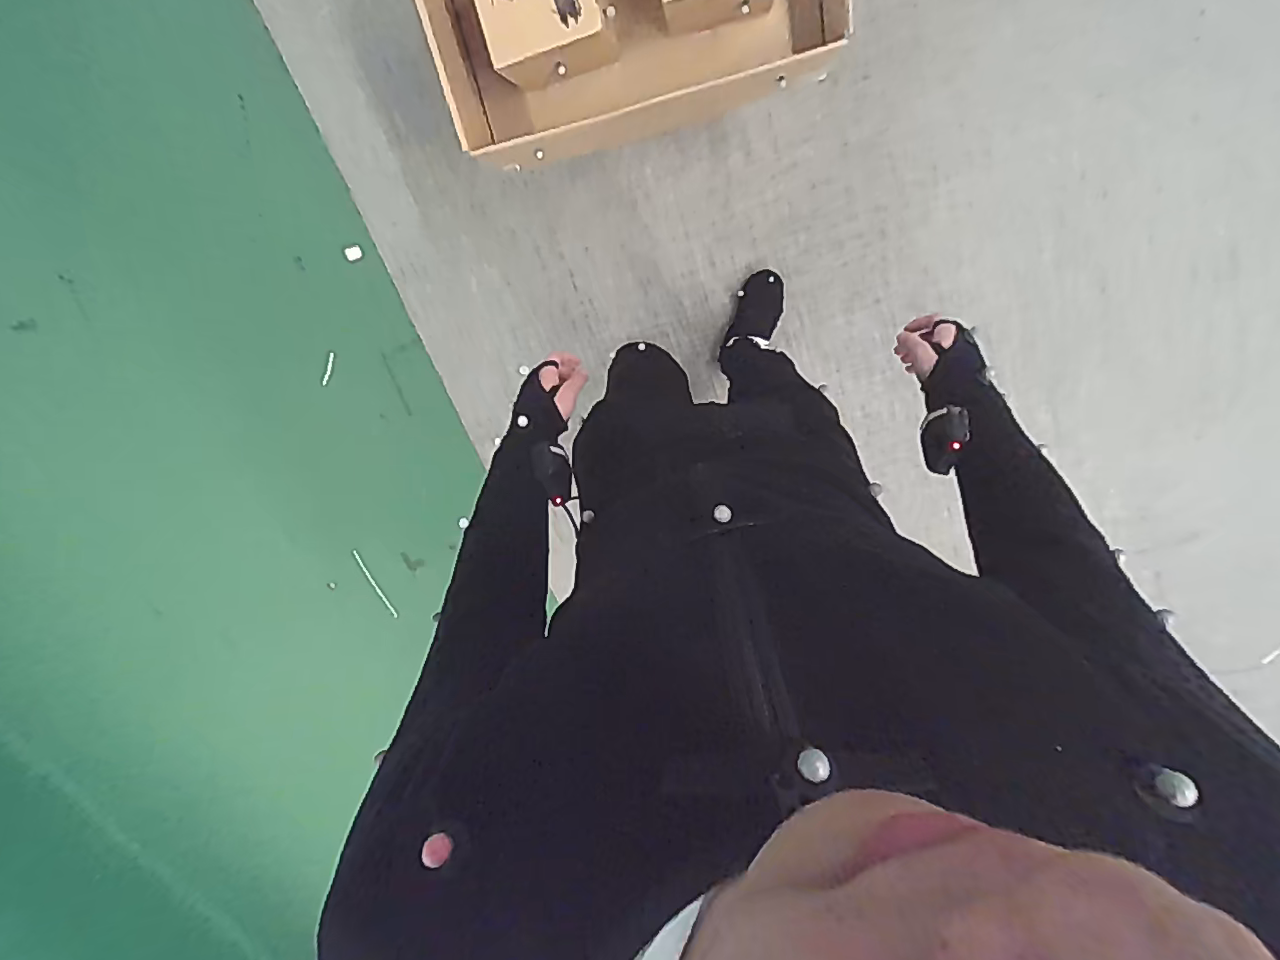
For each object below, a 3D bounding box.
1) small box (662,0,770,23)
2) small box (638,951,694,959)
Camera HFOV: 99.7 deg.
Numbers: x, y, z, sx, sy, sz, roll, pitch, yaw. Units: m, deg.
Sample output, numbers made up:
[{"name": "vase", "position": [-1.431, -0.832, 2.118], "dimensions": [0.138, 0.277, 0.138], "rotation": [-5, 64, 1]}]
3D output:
[{"name": "small box", "position": [0.108, -0.790, 0.771], "dimensions": [0.168, 0.176, 0.179], "rotation": [-5, 116, 11]}, {"name": "small box", "position": [0.085, 1.495, 1.550], "dimensions": [0.168, 0.176, 0.179], "rotation": [-15, 112, 15]}]
